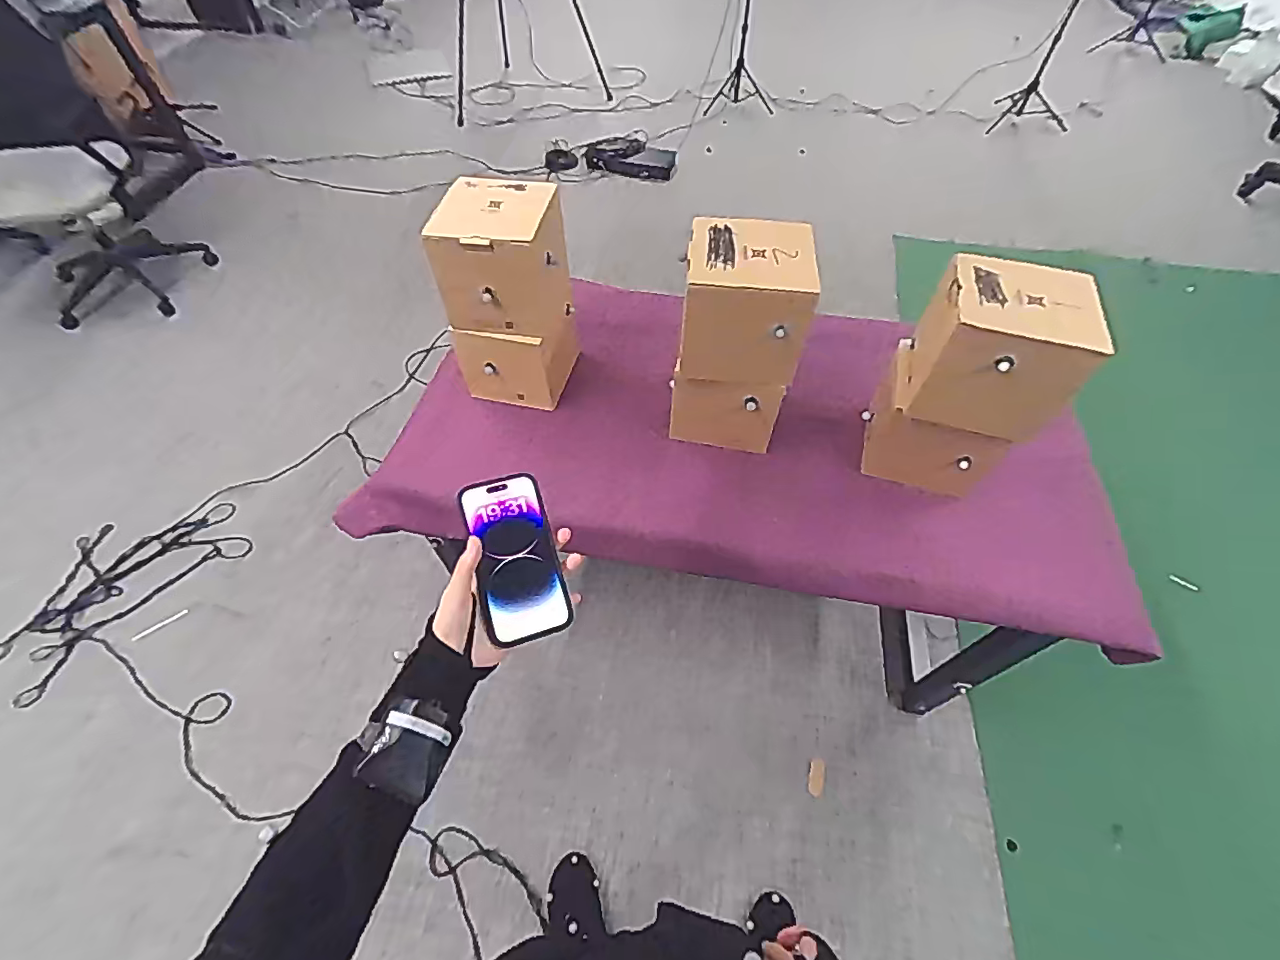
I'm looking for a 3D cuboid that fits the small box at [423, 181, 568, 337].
[{"bbox_3d":[-0.218,-0.354,0.877,0.168,0.176,0.179,6,55,4],"label":"small box"}]

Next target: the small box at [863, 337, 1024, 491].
[{"bbox_3d":[0.489,-0.103,0.887,0.179,0.176,0.168,15,55,12],"label":"small box"}]

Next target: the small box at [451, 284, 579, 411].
[{"bbox_3d":[-0.218,-0.250,1.005,0.168,0.176,0.179,10,54,8],"label":"small box"}]

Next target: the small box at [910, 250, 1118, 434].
[{"bbox_3d":[0.493,-0.186,0.746,0.179,0.176,0.168,15,55,11],"label":"small box"}]

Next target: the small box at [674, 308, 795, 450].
[{"bbox_3d":[0.160,-0.171,0.940,0.179,0.176,0.168,9,54,8],"label":"small box"}]
